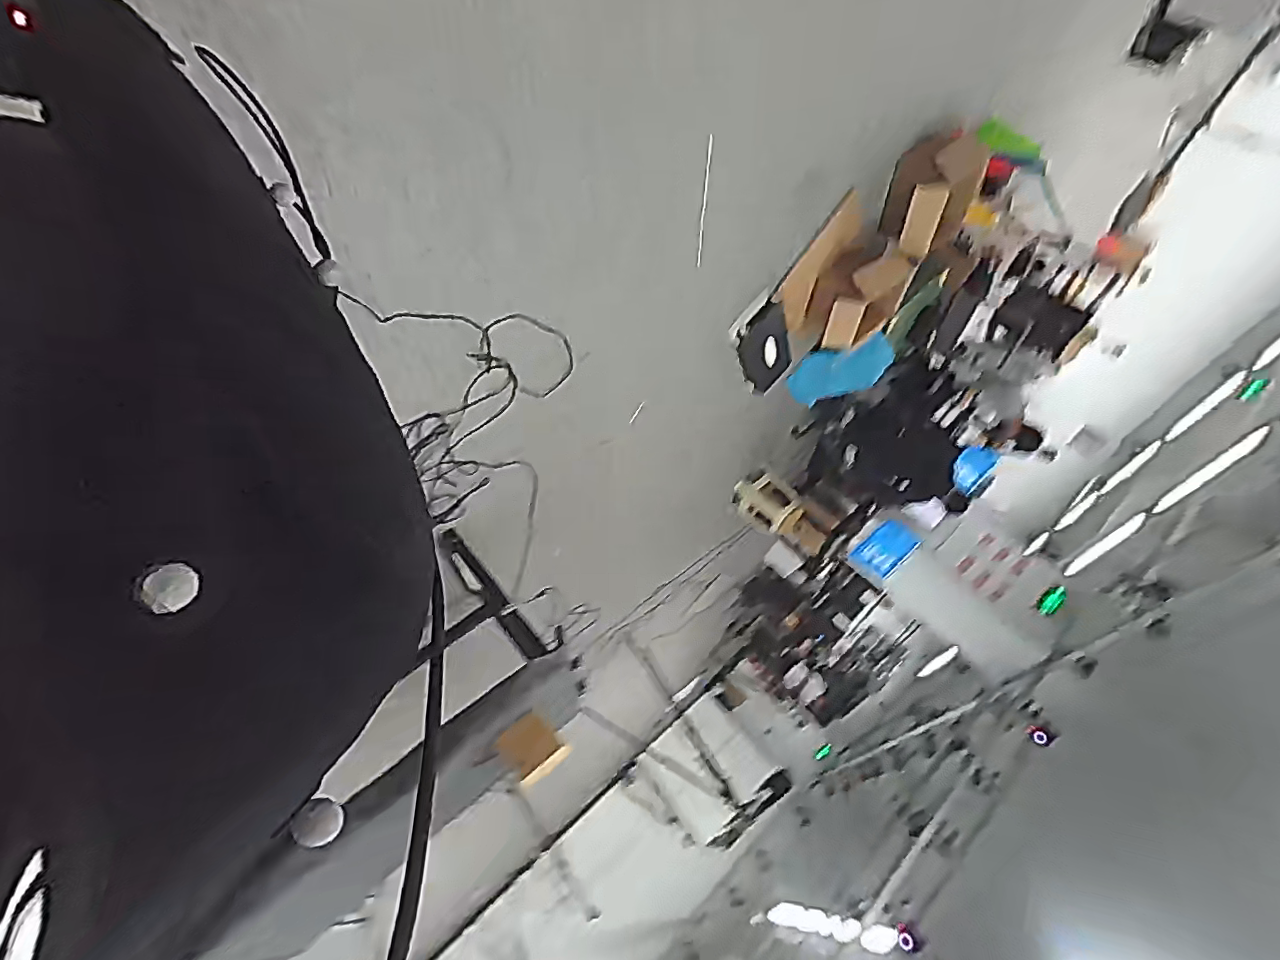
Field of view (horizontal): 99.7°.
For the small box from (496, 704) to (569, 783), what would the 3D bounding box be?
[{"bbox_3d":[-0.369,0.904,1.862,0.179,0.176,0.168,-36,153,-22],"label":"small box"}]
